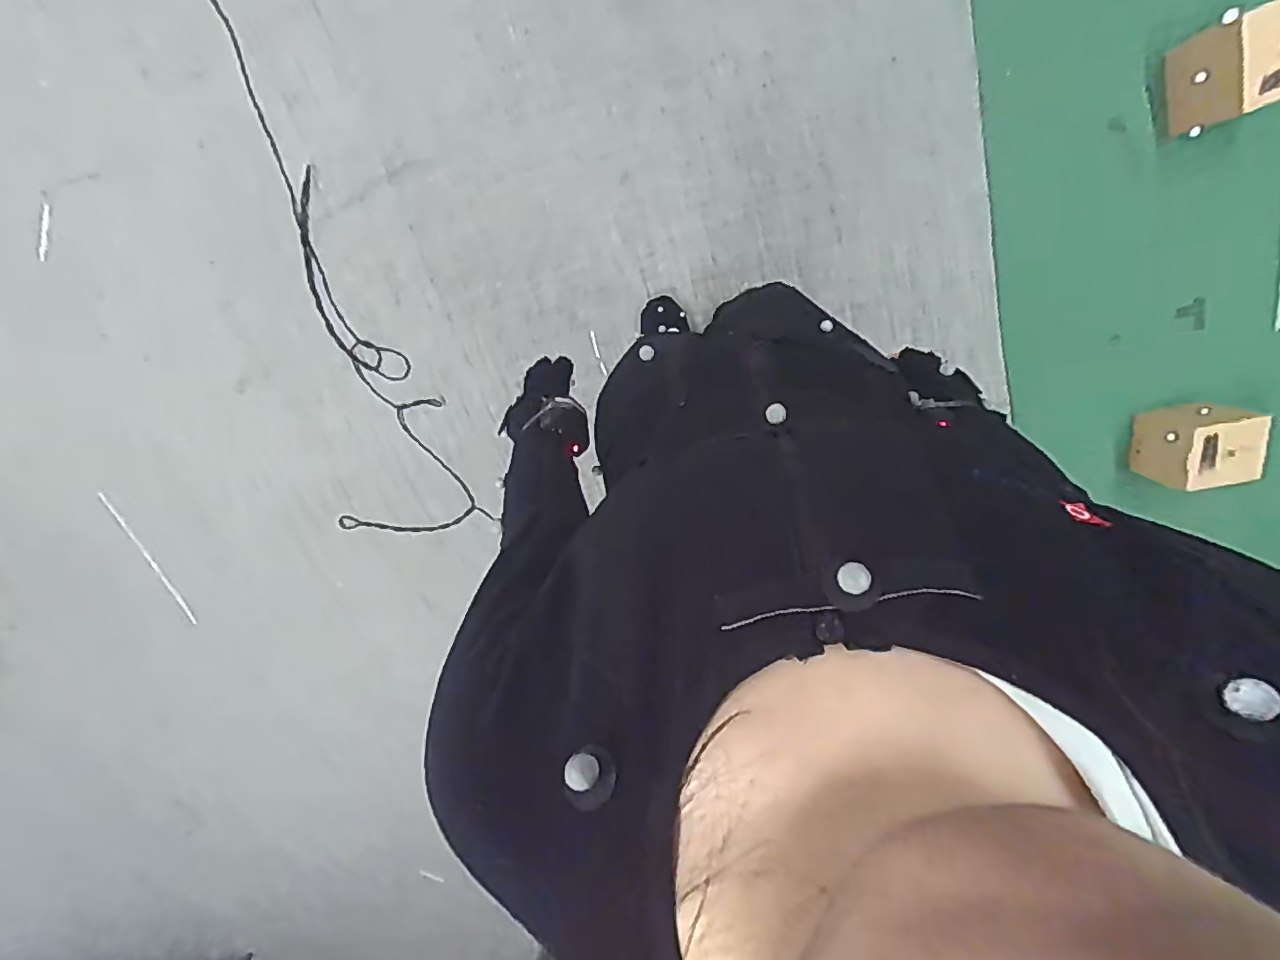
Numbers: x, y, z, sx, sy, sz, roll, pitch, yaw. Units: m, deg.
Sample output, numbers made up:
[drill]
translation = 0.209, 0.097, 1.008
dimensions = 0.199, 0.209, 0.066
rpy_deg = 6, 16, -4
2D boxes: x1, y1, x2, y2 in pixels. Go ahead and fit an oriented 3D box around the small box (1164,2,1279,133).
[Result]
[small box]
translation = 1.228, -0.839, 1.101
dimensions = 0.168, 0.176, 0.179
rpy_deg = -19, 107, 8
